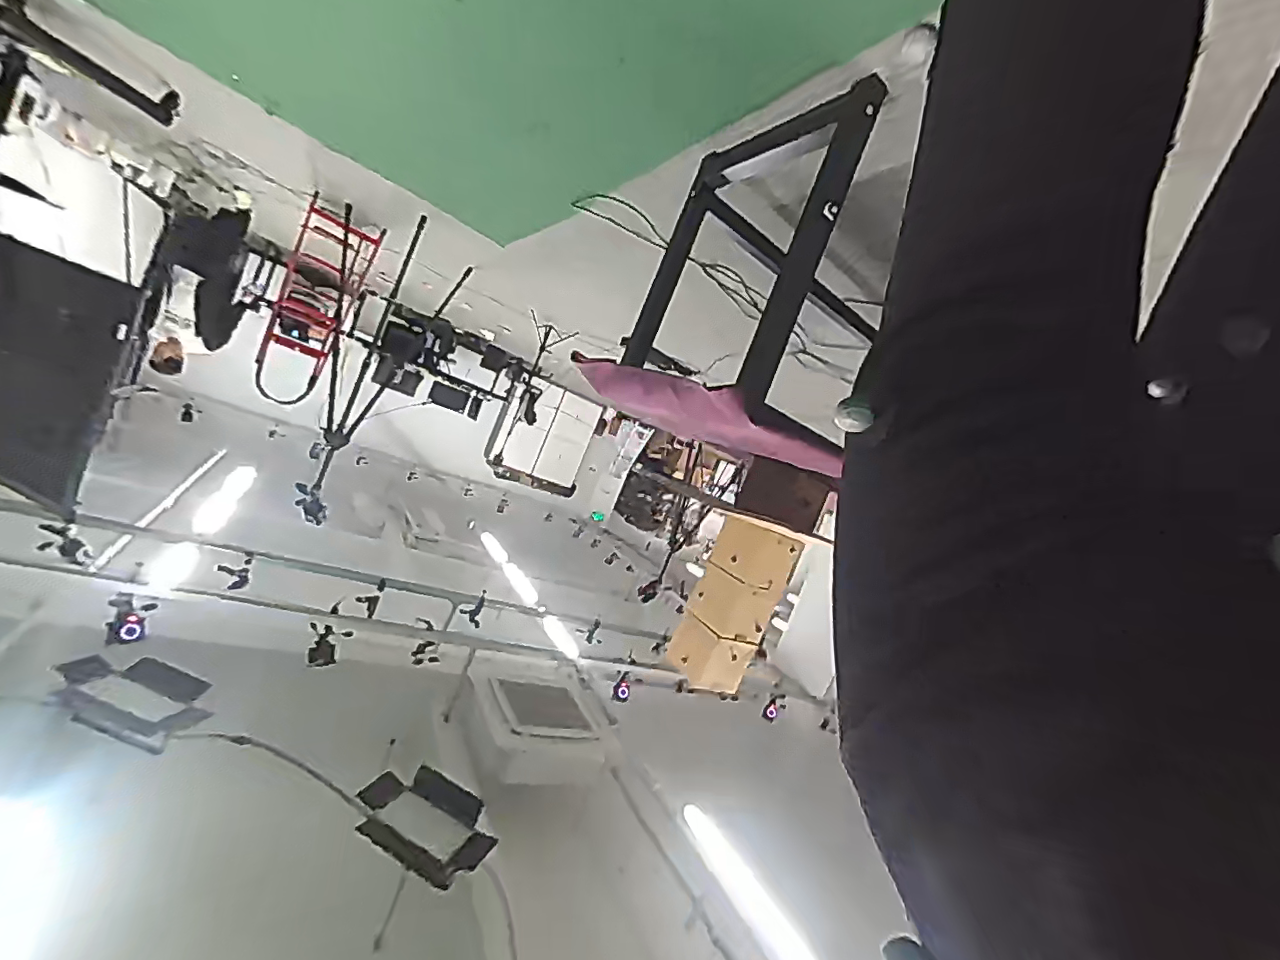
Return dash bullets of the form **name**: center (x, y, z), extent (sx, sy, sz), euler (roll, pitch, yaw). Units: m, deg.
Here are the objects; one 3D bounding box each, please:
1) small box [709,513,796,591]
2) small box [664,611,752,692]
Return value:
- **small box**: center (0.341, 0.209, 1.610), extent (0.168, 0.176, 0.179), euler (21, -178, -32)
- **small box**: center (0.208, 0.509, 1.631), extent (0.168, 0.176, 0.179), euler (21, -176, -33)
